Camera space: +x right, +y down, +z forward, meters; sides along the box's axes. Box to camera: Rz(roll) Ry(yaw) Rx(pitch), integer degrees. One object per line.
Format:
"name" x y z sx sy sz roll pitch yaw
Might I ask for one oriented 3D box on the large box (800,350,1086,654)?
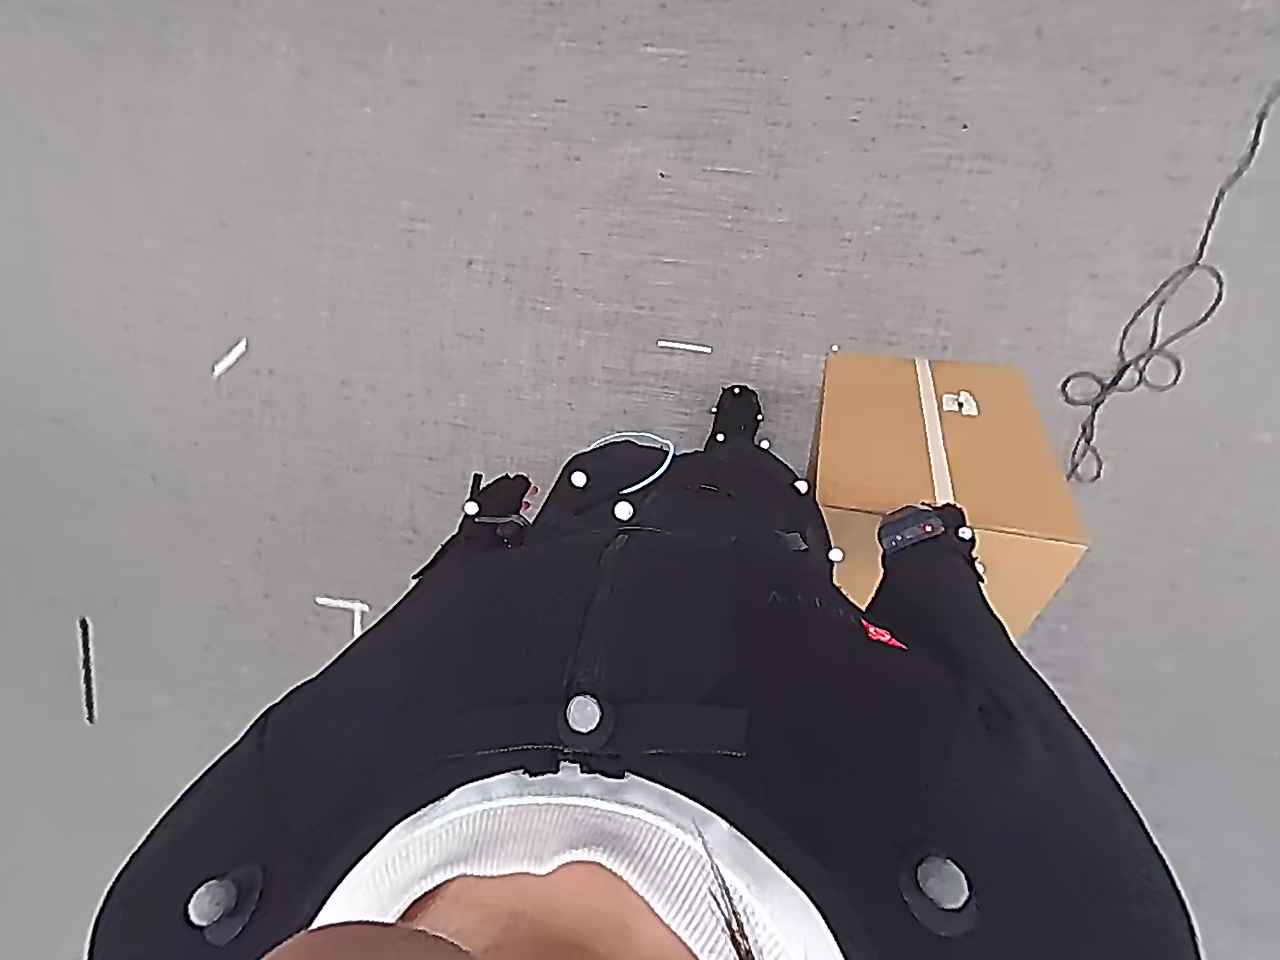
"large box" 0.452 0.021 0.919 0.320 0.408 0.320 8 134 14
